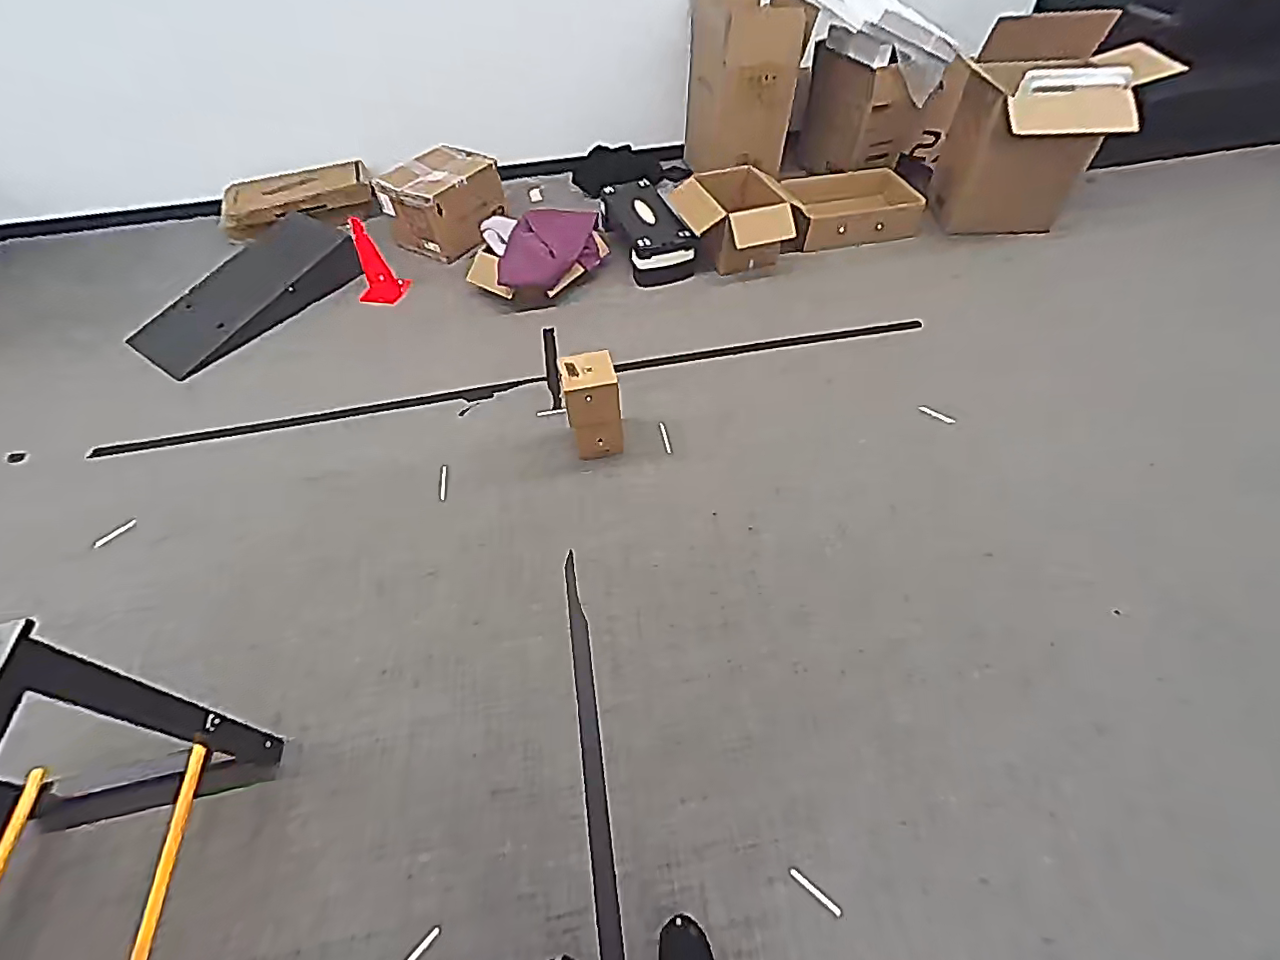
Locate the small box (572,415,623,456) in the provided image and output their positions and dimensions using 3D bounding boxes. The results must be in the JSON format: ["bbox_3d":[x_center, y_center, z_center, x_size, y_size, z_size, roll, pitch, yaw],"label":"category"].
[{"bbox_3d":[-0.160,-0.203,1.923,0.168,0.176,0.179,-12,53,-7],"label":"small box"}]

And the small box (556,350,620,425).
[{"bbox_3d":[-0.171,-0.300,1.789,0.179,0.176,0.168,-11,53,-7],"label":"small box"}]
